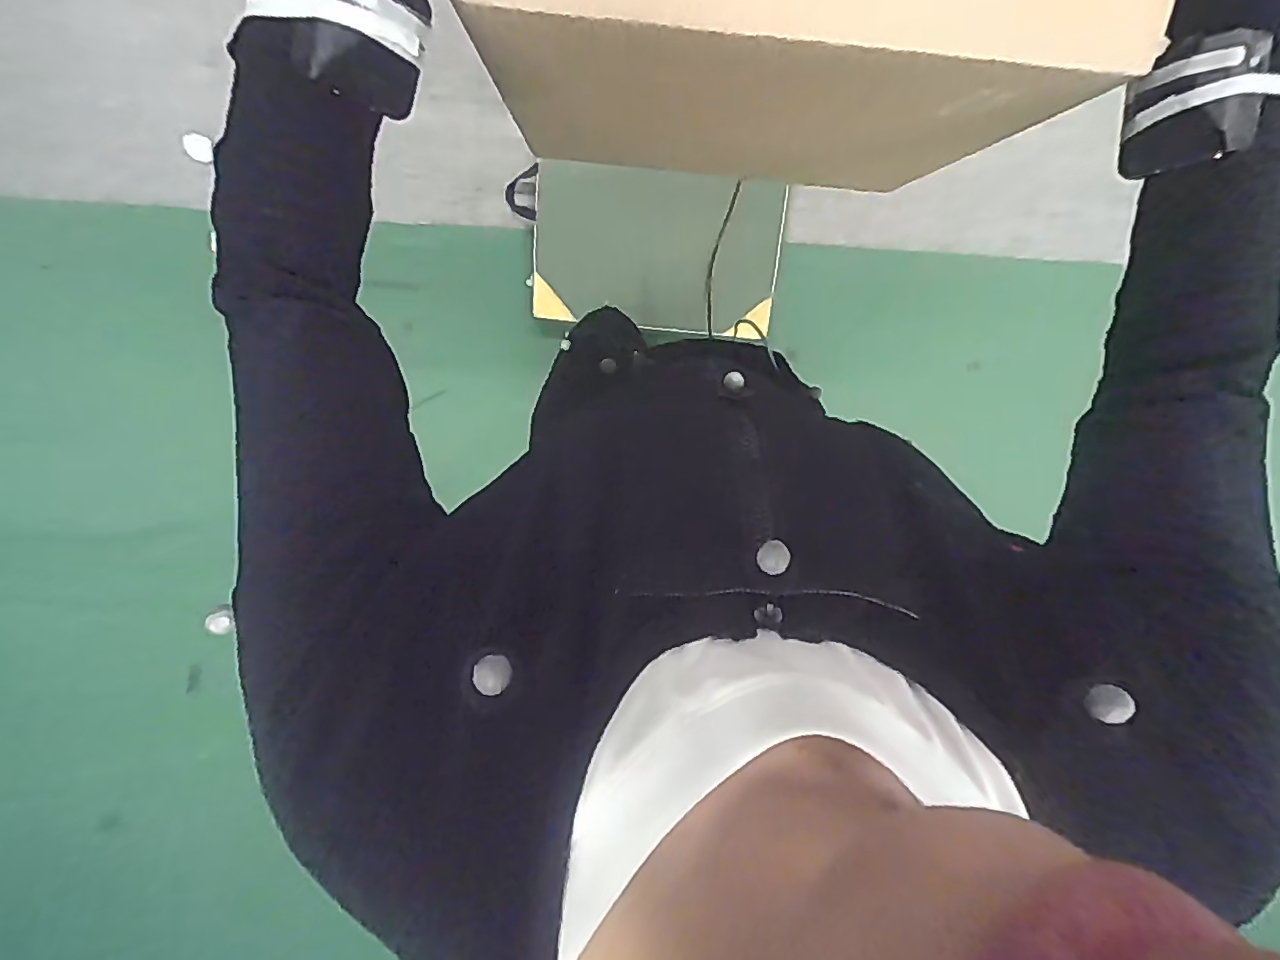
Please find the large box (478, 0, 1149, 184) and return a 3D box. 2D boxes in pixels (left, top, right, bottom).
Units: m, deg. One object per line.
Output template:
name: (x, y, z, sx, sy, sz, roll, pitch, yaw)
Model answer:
large box: (0.100, -0.445, 0.415, 0.408, 0.320, 0.320, 3, 107, -5)
